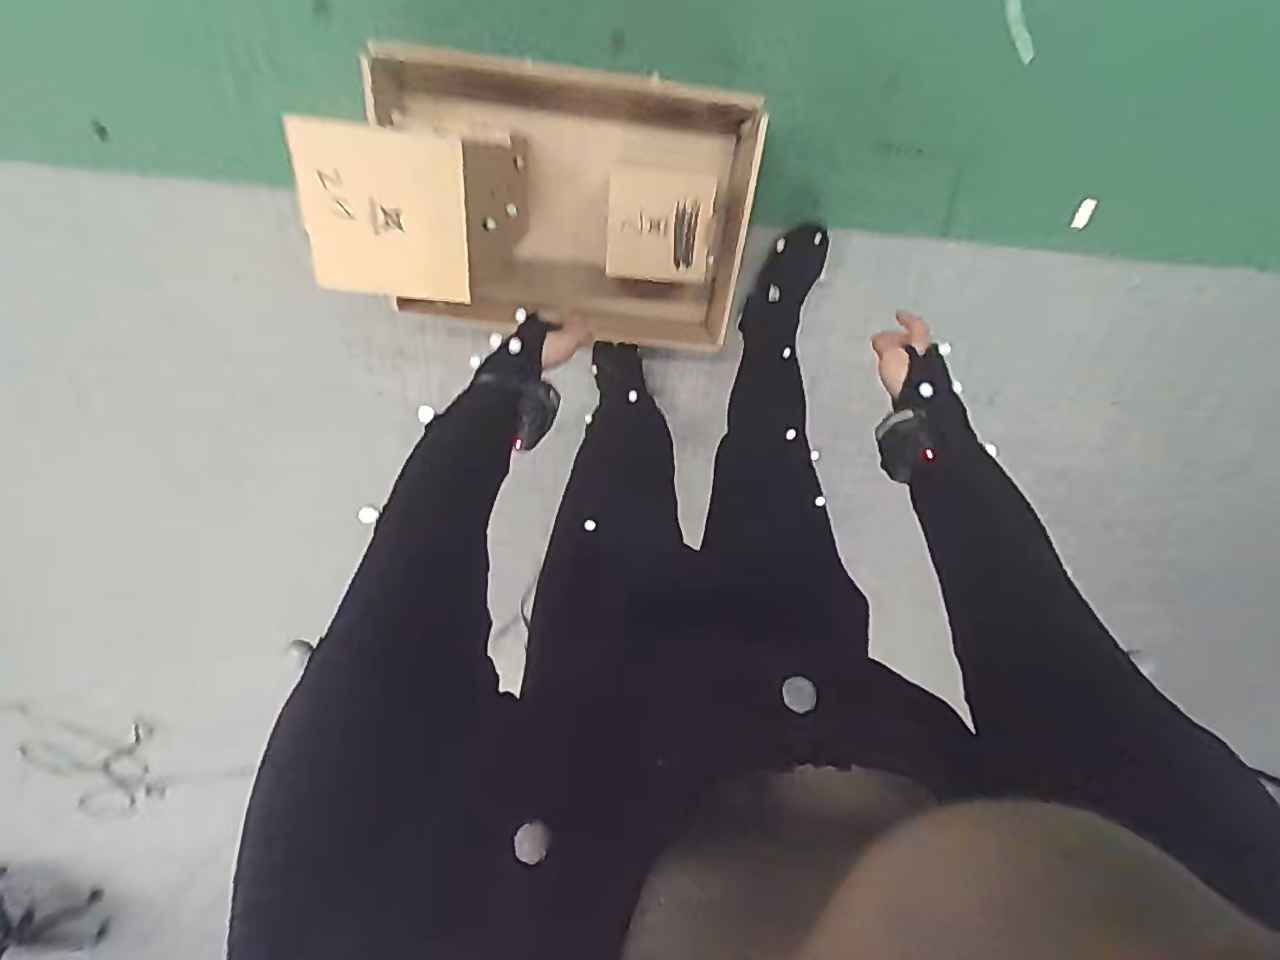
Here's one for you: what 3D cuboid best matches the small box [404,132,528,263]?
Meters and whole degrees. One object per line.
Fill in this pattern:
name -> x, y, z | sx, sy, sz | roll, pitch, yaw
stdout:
small box -> -0.289, -0.491, 0.938 | 0.168, 0.176, 0.179 | 4, 121, -4

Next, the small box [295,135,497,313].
small box -> -0.275, -0.313, 0.661 | 0.179, 0.176, 0.168 | 4, 120, -4

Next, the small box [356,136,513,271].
small box -> -0.290, -0.400, 0.801 | 0.179, 0.176, 0.168 | 4, 121, -5
